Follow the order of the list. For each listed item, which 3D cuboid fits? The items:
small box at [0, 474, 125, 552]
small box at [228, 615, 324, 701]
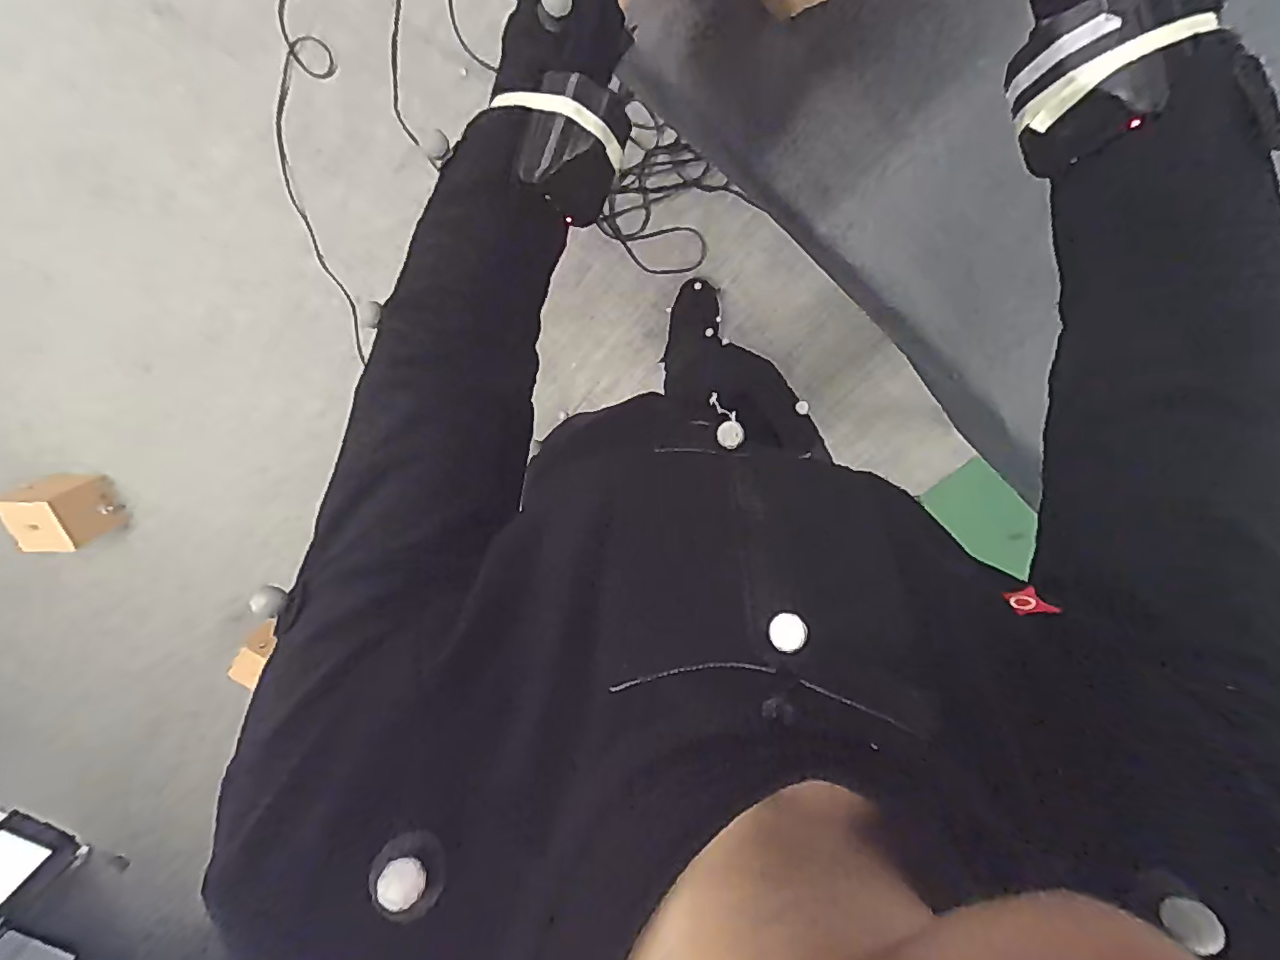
[{"bbox_3d":[-1.669,0.091,1.561,0.179,0.176,0.168,-1,118,5],"label":"small box"},{"bbox_3d":[-1.173,0.571,1.755,0.179,0.176,0.168,36,115,-12],"label":"small box"}]
